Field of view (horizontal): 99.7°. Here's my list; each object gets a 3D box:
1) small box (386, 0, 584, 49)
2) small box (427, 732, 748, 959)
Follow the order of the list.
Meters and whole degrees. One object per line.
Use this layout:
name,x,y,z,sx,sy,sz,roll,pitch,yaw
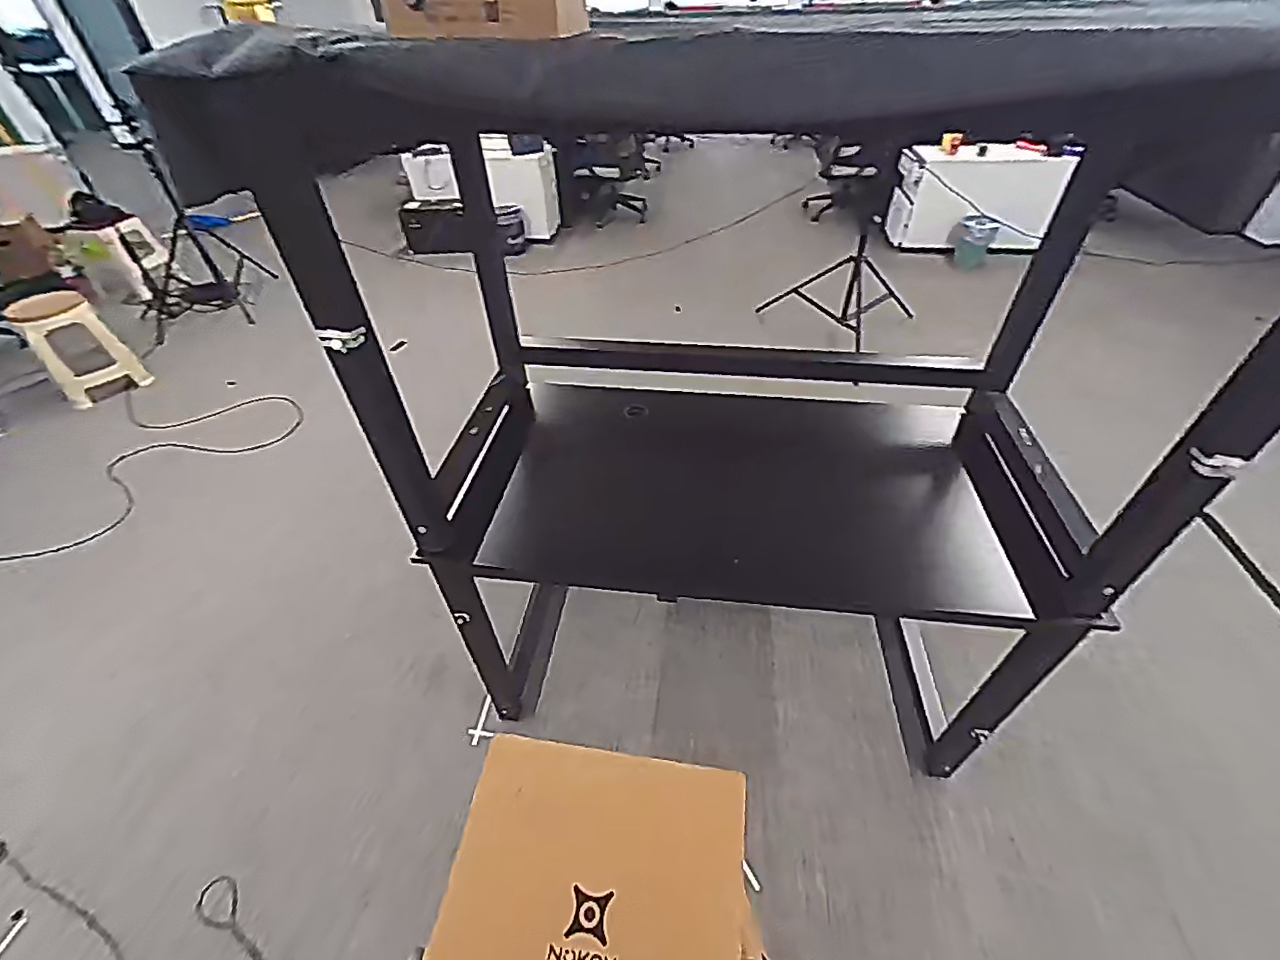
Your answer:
small box,-0.149,-0.524,0.517,0.168,0.176,0.179,3,40,4
small box,-0.026,0.291,0.351,0.168,0.176,0.179,6,50,7
